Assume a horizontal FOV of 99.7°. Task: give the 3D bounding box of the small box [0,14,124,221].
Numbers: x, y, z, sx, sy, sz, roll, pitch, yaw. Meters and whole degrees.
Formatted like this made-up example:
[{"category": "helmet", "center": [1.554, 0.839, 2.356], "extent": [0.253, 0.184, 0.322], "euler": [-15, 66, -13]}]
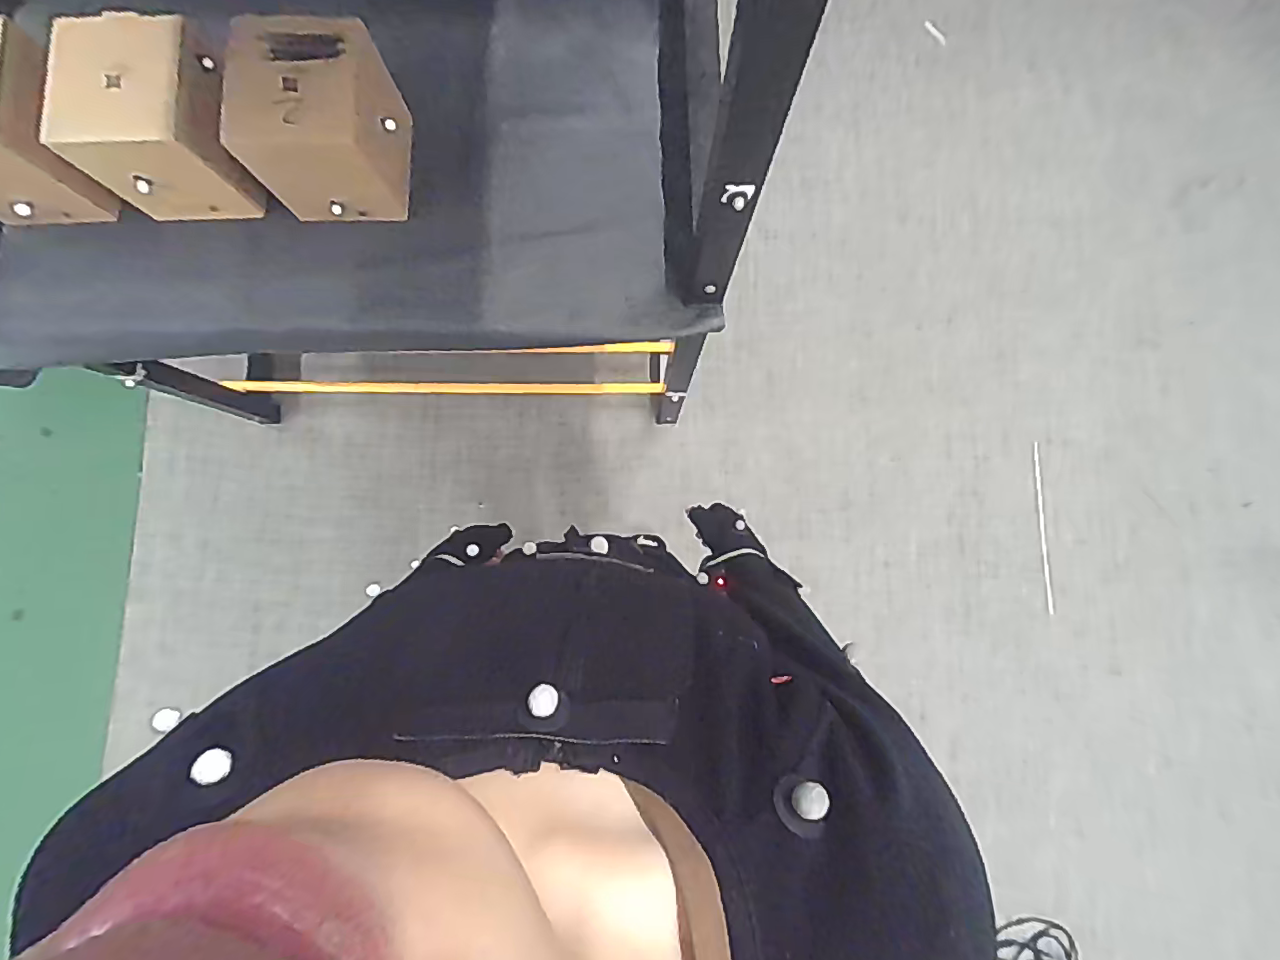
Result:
[{"category": "small box", "center": [-0.871, -0.488, 0.747], "extent": [0.168, 0.176, 0.179], "euler": [-3, 84, -1]}]
